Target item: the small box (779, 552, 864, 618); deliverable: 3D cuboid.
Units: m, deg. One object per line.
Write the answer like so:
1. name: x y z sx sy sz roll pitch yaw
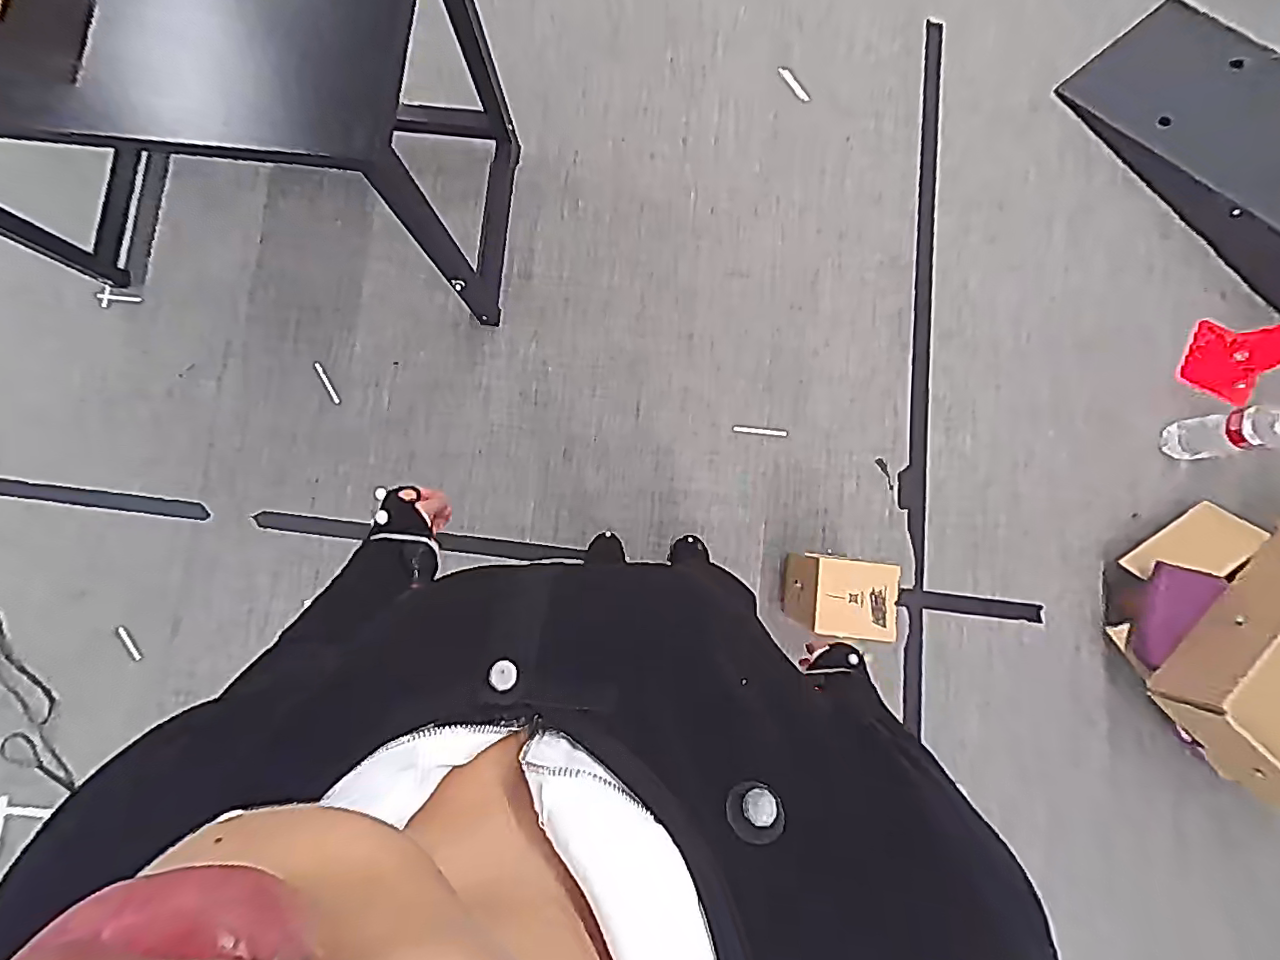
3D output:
1. small box: 0.469 0.284 1.414 0.168 0.176 0.179 6 84 2

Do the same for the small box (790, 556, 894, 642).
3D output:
1. small box: 0.460 0.267 1.251 0.179 0.176 0.168 6 83 2
